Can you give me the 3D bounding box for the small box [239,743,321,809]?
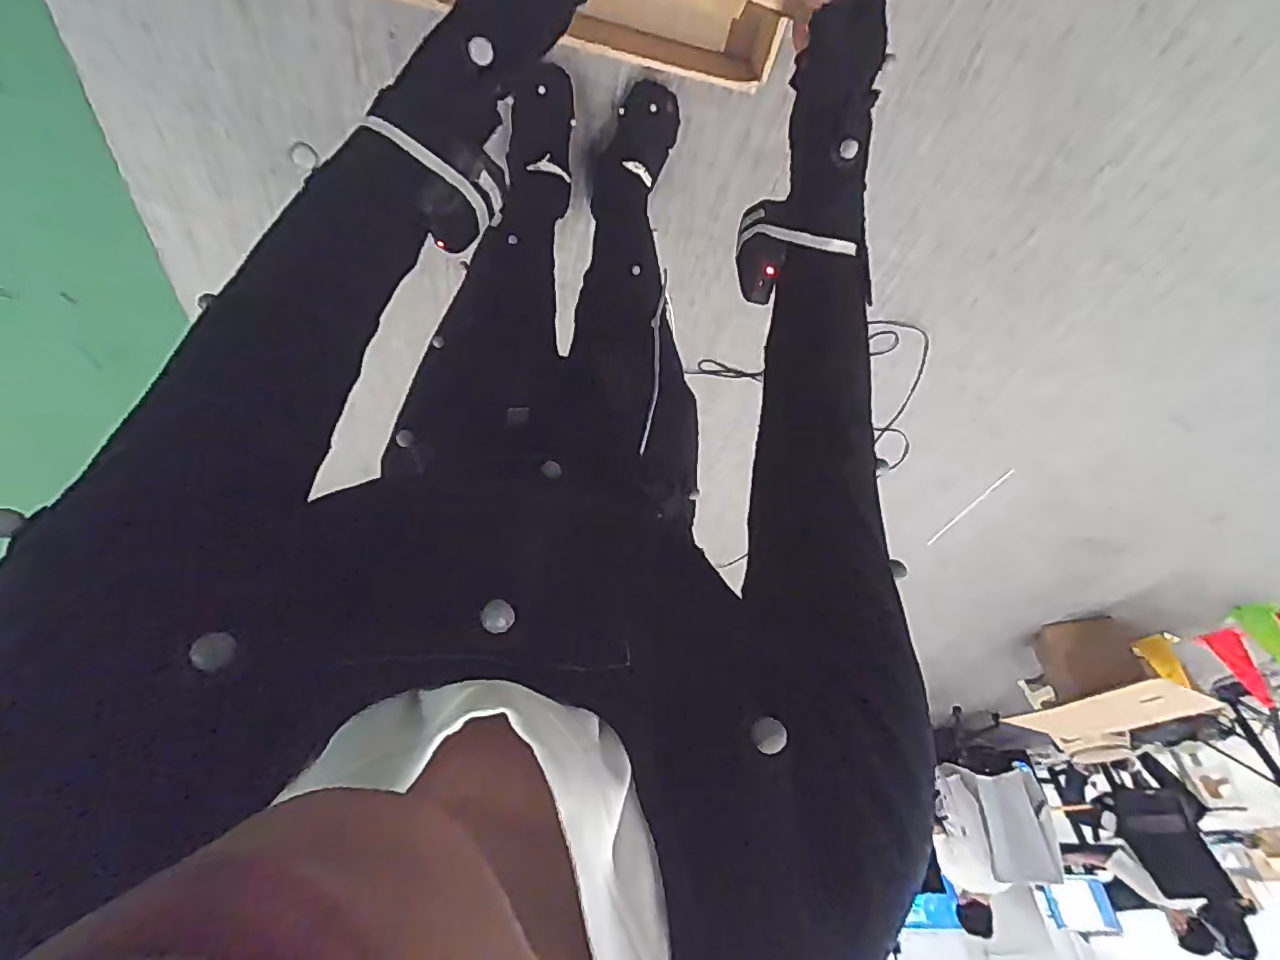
[{"bbox_3d":[-1.234,1.027,1.871,0.168,0.176,0.179,7,140,-11],"label":"small box"}]
